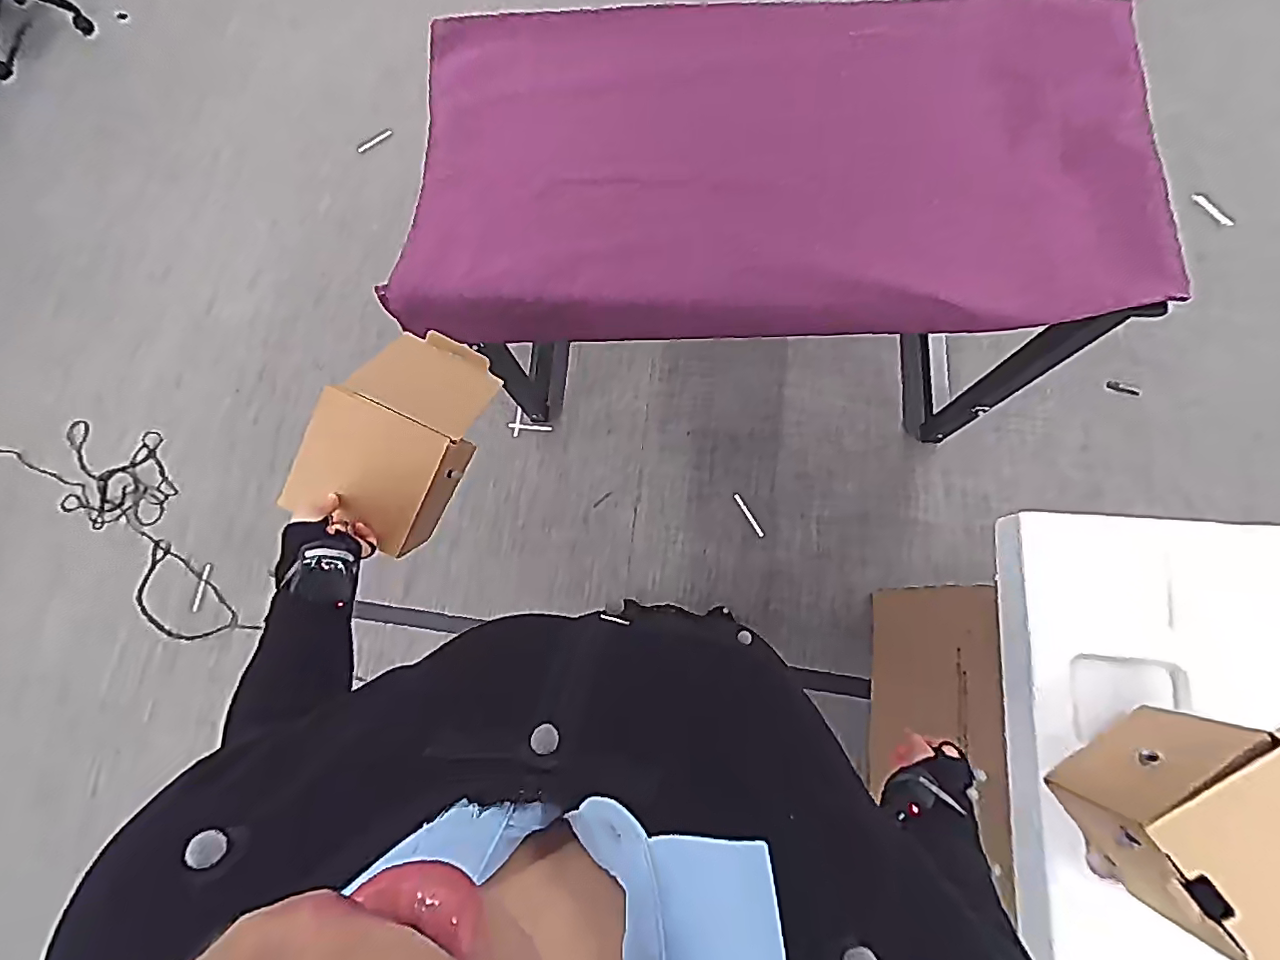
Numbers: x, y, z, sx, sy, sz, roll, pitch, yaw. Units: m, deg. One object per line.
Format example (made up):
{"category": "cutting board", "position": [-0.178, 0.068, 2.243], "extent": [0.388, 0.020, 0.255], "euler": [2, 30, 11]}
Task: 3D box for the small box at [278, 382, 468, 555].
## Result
{"category": "small box", "position": [-0.363, -0.017, 0.777], "extent": [0.168, 0.176, 0.179], "euler": [27, 88, -8]}
